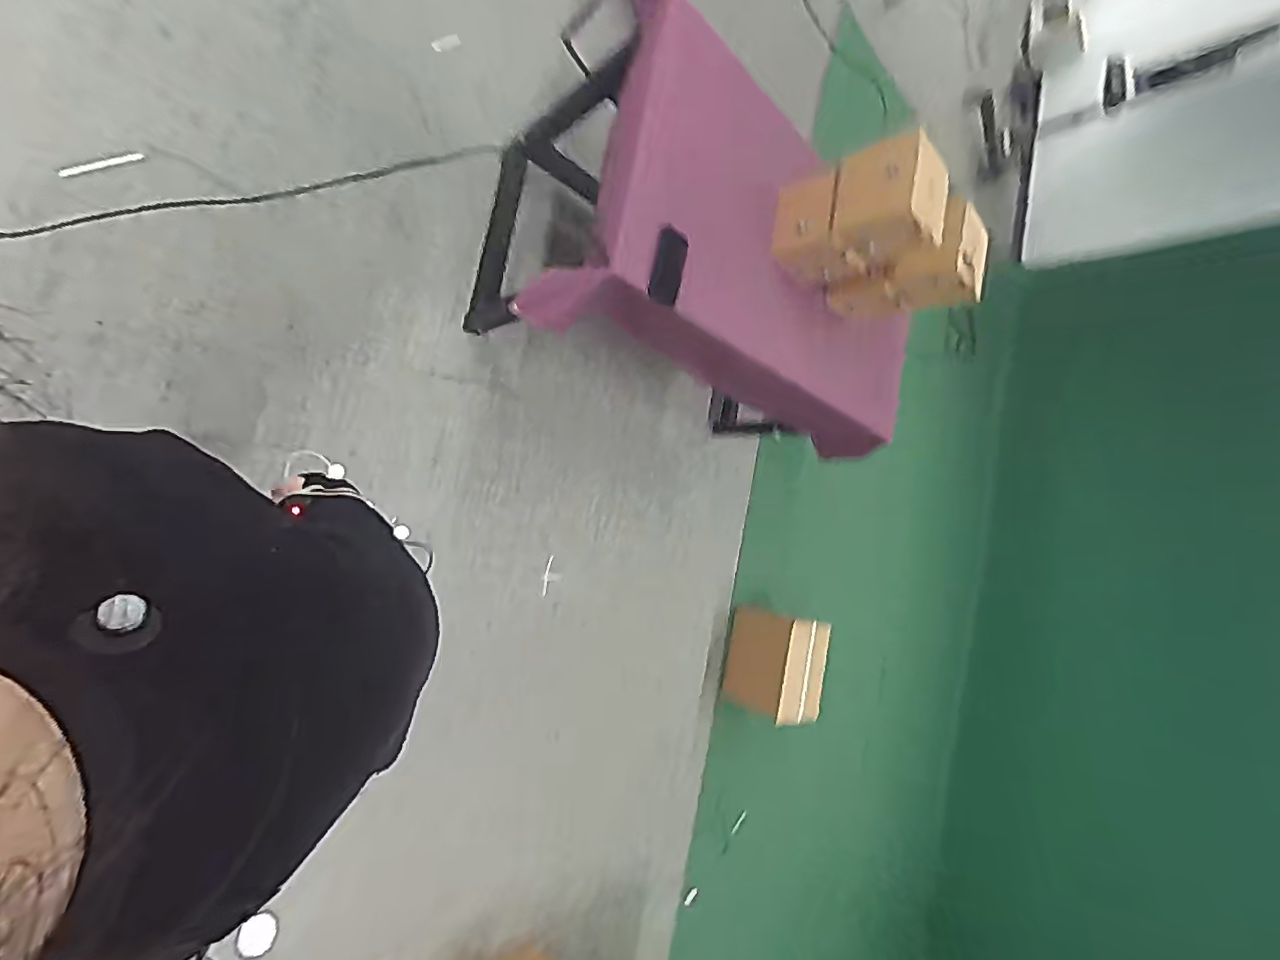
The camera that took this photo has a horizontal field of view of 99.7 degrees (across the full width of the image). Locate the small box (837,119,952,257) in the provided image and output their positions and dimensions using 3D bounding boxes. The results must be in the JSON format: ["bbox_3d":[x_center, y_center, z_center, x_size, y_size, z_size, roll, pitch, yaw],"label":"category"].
[{"bbox_3d":[0.545,-0.614,1.161,0.168,0.176,0.179,14,84,-41],"label":"small box"}]

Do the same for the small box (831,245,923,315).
[{"bbox_3d":[0.639,-0.569,1.464,0.168,0.176,0.179,14,84,-41],"label":"small box"}]

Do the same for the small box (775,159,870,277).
[{"bbox_3d":[0.442,-0.610,1.291,0.168,0.176,0.179,15,83,-41],"label":"small box"}]
